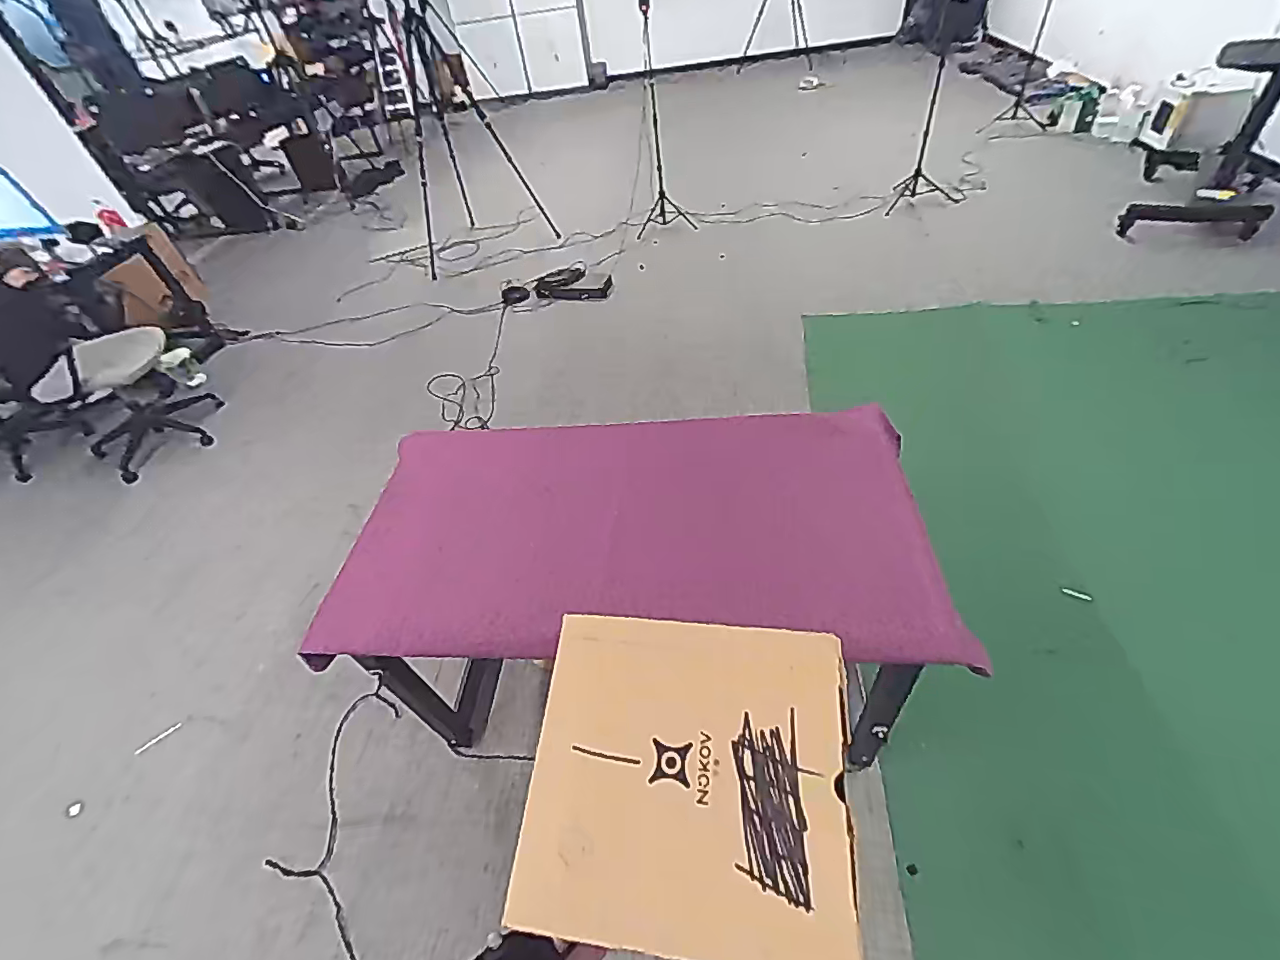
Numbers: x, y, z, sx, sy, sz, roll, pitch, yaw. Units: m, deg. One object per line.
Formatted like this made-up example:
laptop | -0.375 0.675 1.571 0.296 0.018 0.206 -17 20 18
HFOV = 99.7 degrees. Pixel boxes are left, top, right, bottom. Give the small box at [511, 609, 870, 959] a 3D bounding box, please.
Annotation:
small box | 0.040 0.200 0.367 0.179 0.176 0.168 2 57 10
